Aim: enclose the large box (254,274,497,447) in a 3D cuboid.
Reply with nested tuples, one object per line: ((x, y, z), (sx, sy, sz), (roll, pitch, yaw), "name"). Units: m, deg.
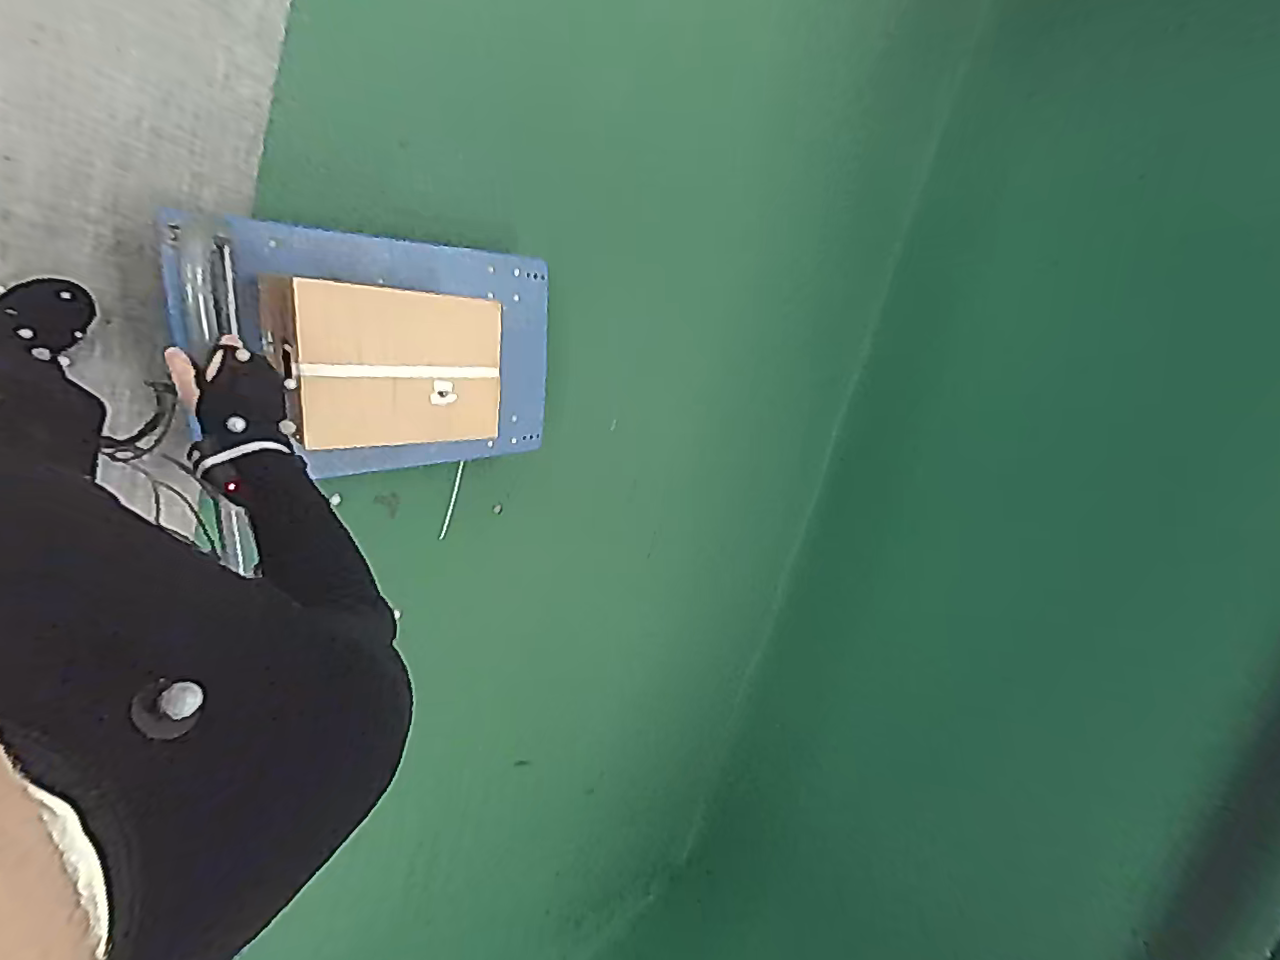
((-0.578, -0.273, 1.204), (0.408, 0.320, 0.320), (-9, 114, -44), "large box")
